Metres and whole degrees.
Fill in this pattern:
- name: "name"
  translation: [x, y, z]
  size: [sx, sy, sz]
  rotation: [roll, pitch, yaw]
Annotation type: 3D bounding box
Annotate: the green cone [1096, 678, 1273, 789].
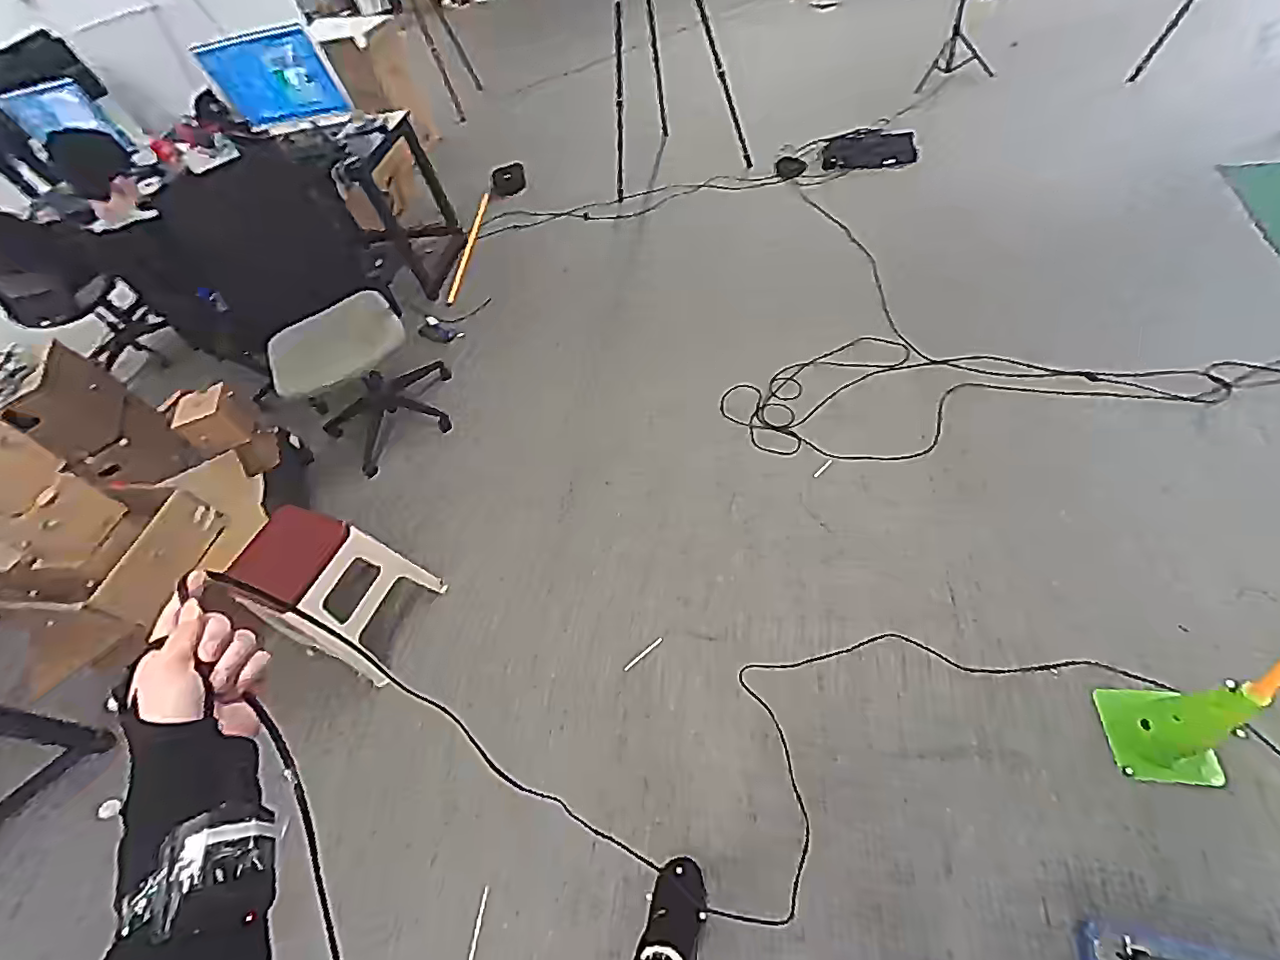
- name: "green cone"
  translation: [1.169, 0.494, 1.118]
  size: [0.200, 0.368, 0.202]
  rotation: [-3, 52, 13]
